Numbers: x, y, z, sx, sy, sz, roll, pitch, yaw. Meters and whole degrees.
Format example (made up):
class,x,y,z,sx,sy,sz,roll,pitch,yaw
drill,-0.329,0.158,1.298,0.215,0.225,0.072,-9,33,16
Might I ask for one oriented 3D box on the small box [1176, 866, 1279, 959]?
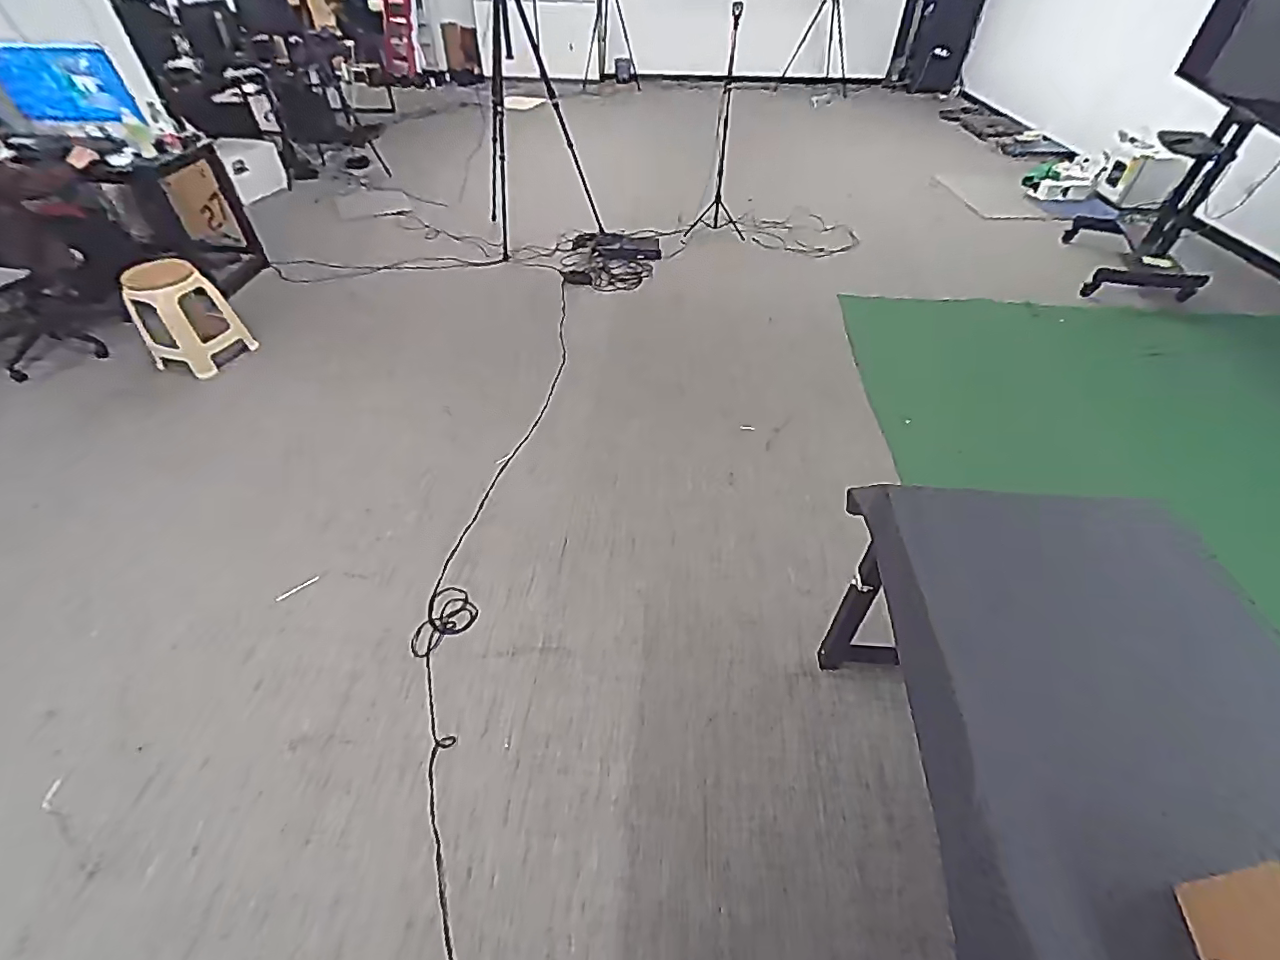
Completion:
class,x,y,z,sx,sy,sz,roll,pitch,yaw
small box,0.738,0.542,0.564,0.168,0.176,0.179,10,46,9
